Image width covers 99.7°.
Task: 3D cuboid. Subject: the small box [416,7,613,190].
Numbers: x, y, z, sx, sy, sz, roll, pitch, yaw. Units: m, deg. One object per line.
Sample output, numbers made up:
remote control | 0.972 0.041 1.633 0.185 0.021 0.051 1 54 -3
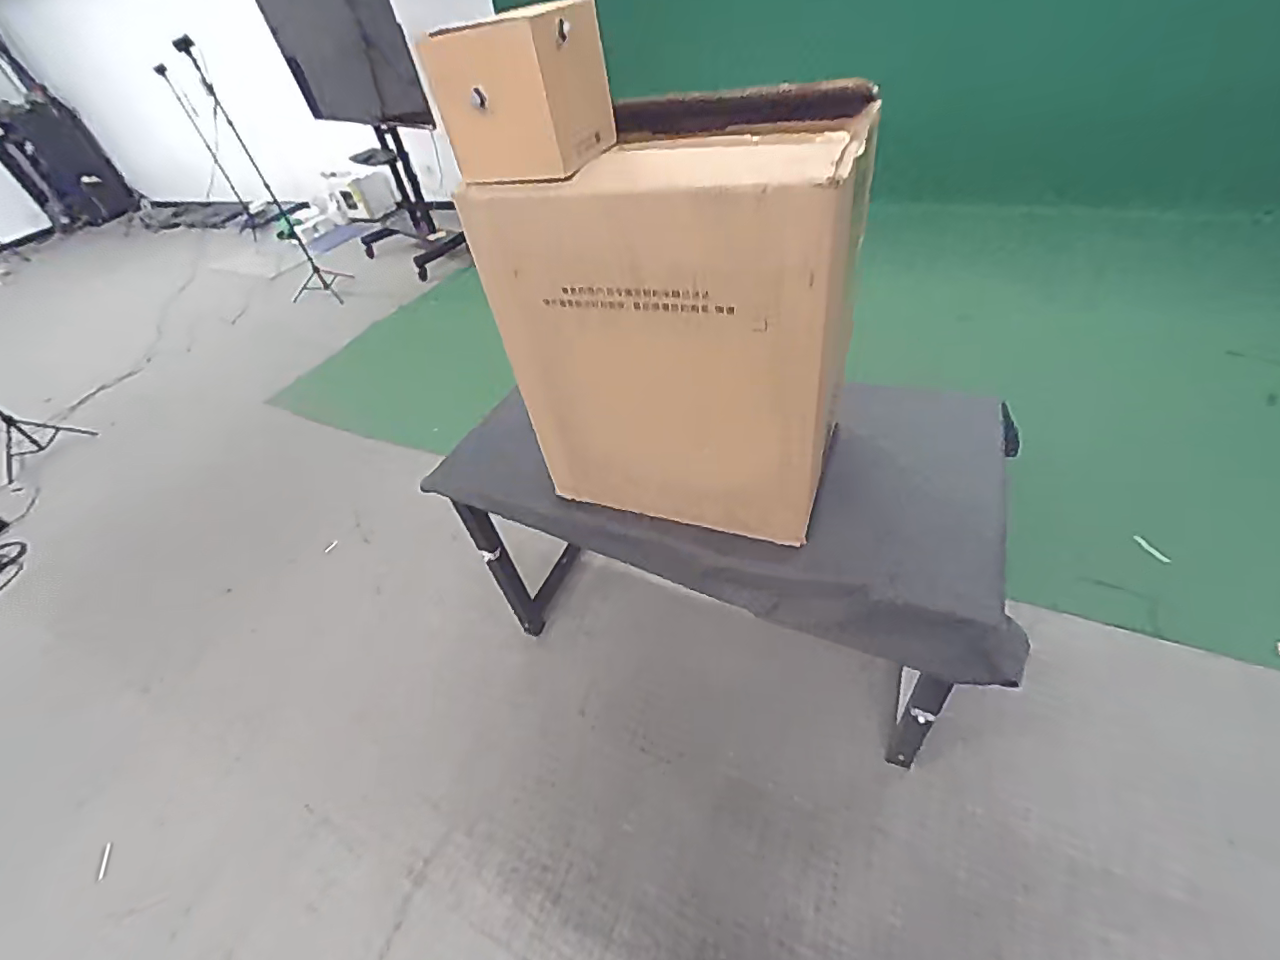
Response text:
small box | -0.159 -0.517 0.746 0.179 0.176 0.168 9 48 24
